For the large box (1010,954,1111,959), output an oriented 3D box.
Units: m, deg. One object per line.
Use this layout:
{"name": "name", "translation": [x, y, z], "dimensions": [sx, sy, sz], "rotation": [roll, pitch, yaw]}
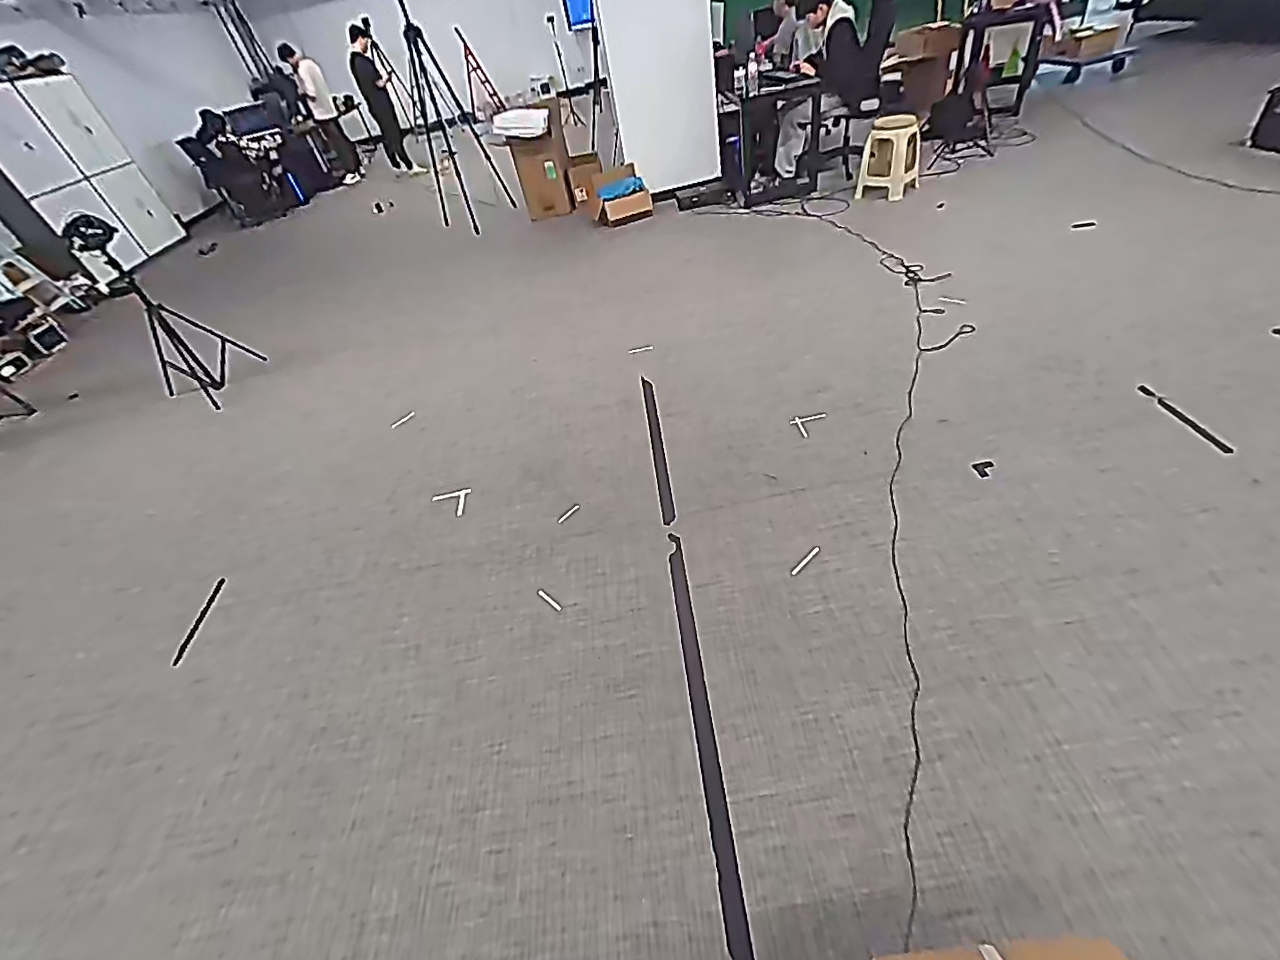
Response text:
{"name": "large box", "translation": [0.470, 0.771, 0.514], "dimensions": [0.320, 0.408, 0.320], "rotation": [-11, 81, 6]}
